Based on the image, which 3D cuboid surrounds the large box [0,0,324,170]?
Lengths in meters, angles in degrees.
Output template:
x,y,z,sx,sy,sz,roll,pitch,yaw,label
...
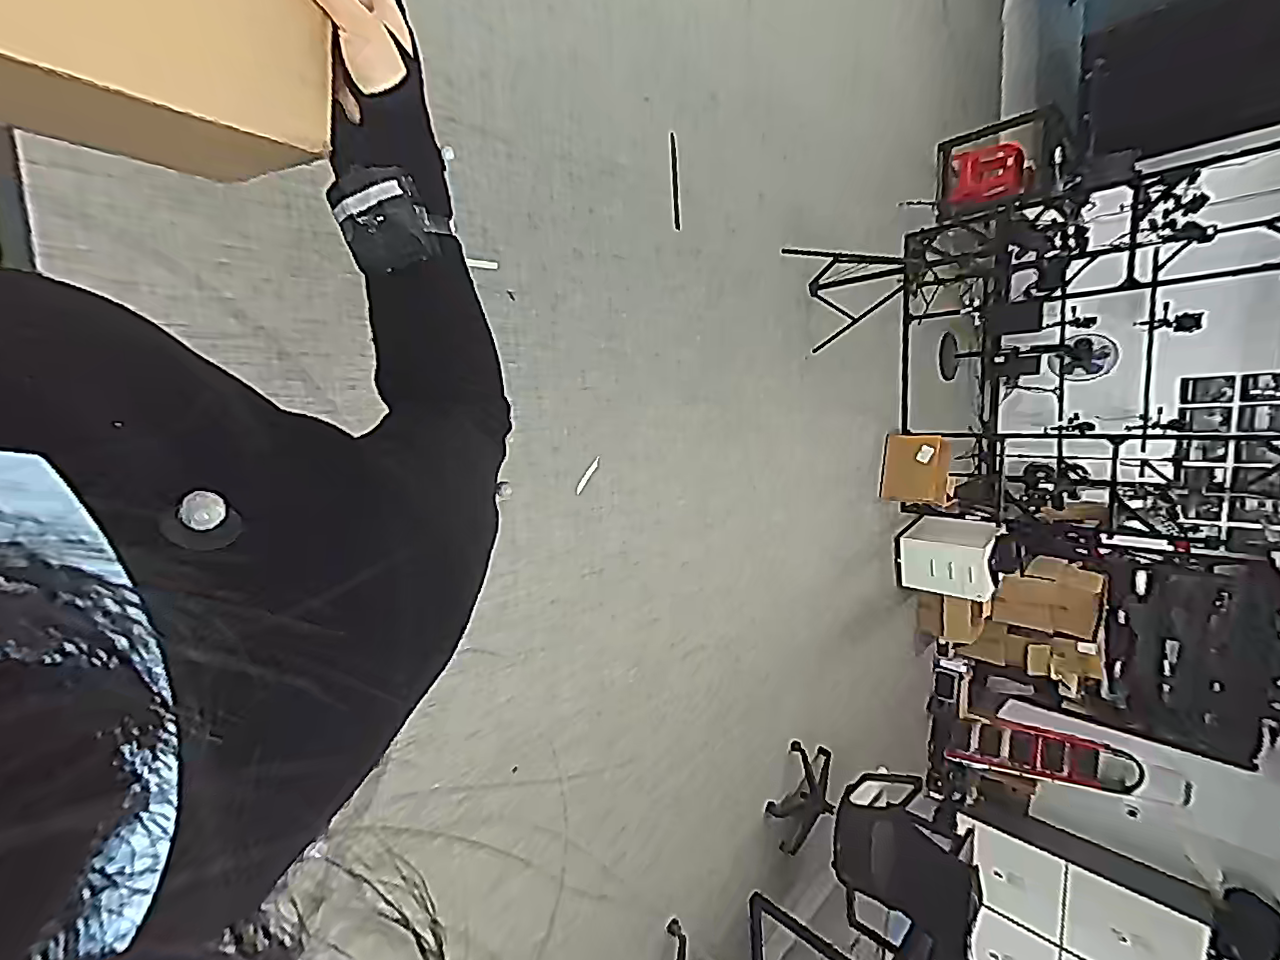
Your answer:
x,y,z,sx,sy,sz,roll,pitch,yaw,label
-0.447,-0.407,0.304,0.408,0.320,0.320,-7,111,-45,large box
